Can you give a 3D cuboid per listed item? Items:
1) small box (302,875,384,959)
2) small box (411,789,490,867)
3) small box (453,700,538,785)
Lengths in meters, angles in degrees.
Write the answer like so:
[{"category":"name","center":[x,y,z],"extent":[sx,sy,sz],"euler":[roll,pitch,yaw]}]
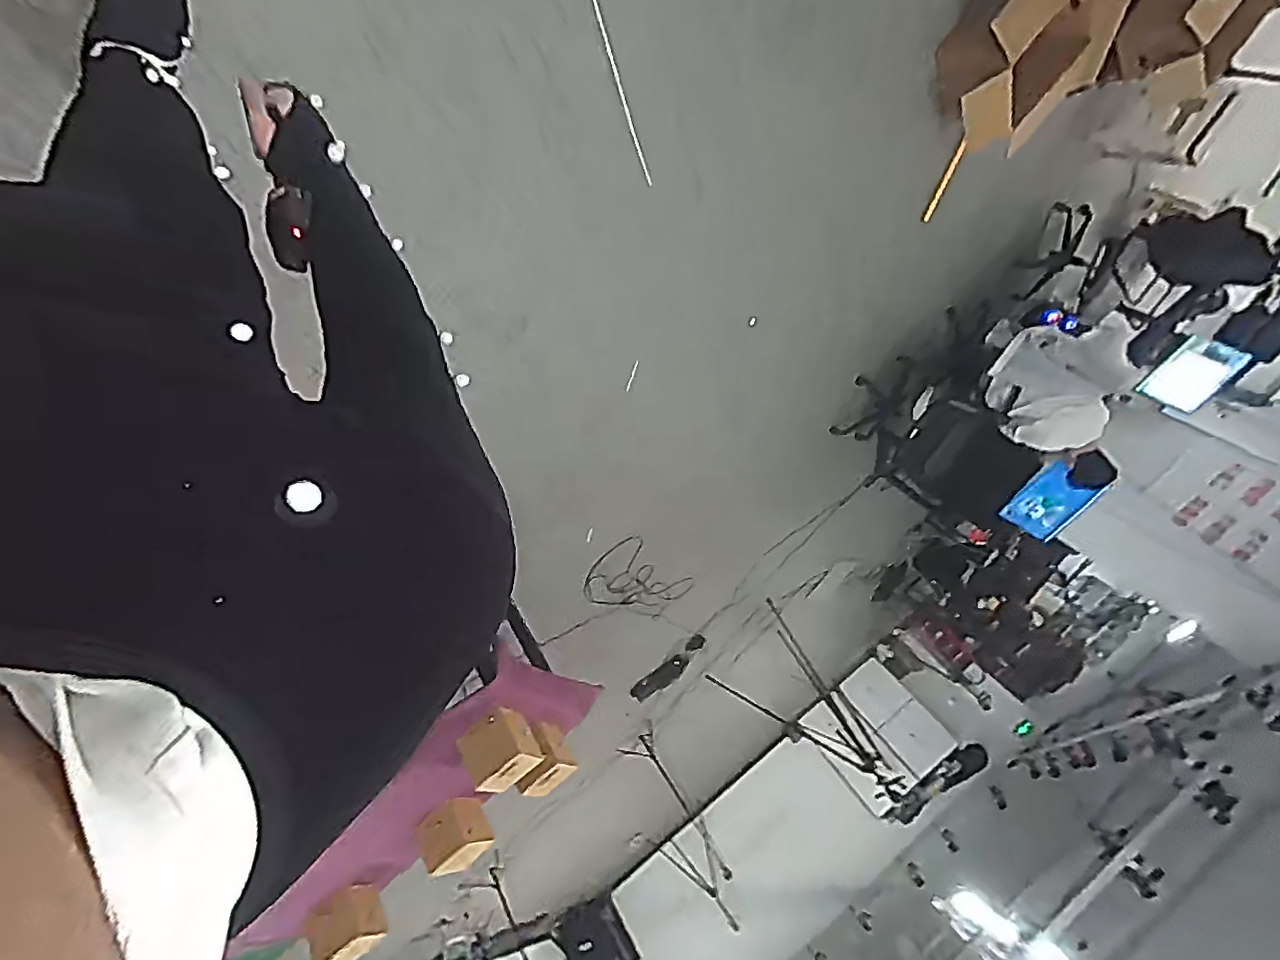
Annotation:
[{"category":"small box","center":[-1.027,1.507,1.871],"extent":[0.168,0.176,0.179],"euler":[-36,144,-11]},{"category":"small box","center":[-0.675,1.228,1.923],"extent":[0.168,0.176,0.179],"euler":[-41,144,-2]},{"category":"small box","center":[-0.454,0.819,1.693],"extent":[0.168,0.176,0.179],"euler":[-36,147,-8]}]
